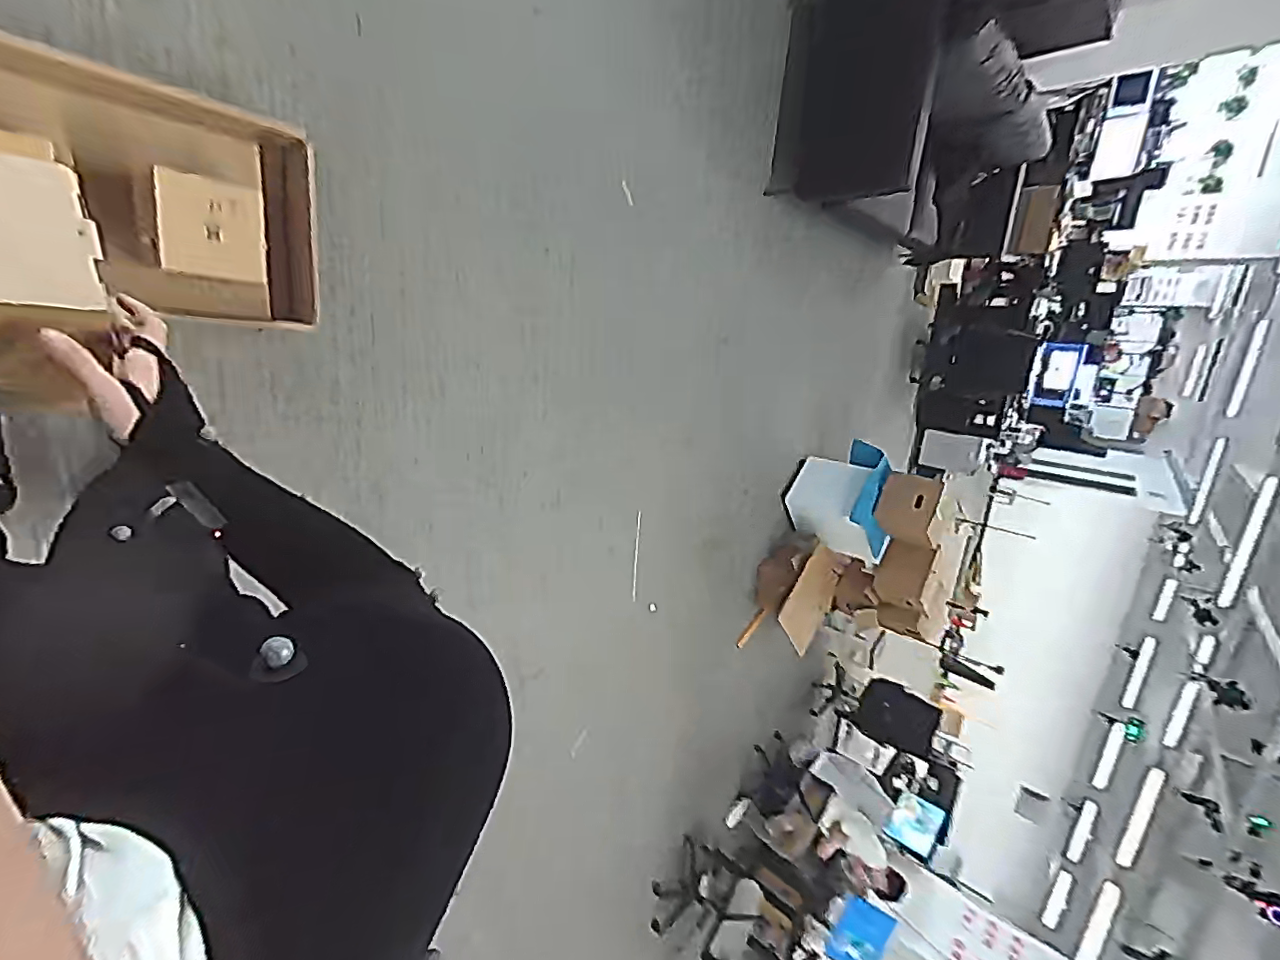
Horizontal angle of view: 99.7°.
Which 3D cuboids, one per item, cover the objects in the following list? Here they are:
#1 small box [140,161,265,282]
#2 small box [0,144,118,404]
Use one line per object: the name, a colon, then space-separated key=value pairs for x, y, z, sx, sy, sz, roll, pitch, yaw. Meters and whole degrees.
small box: x=-0.863 y=-0.499 z=1.070 sx=0.168 sy=0.176 sz=0.179 roll=-8 pitch=109 yaw=-48
small box: x=-0.599 y=-0.178 z=0.477 sx=0.179 sy=0.176 sz=0.168 roll=-12 pitch=74 yaw=-47
